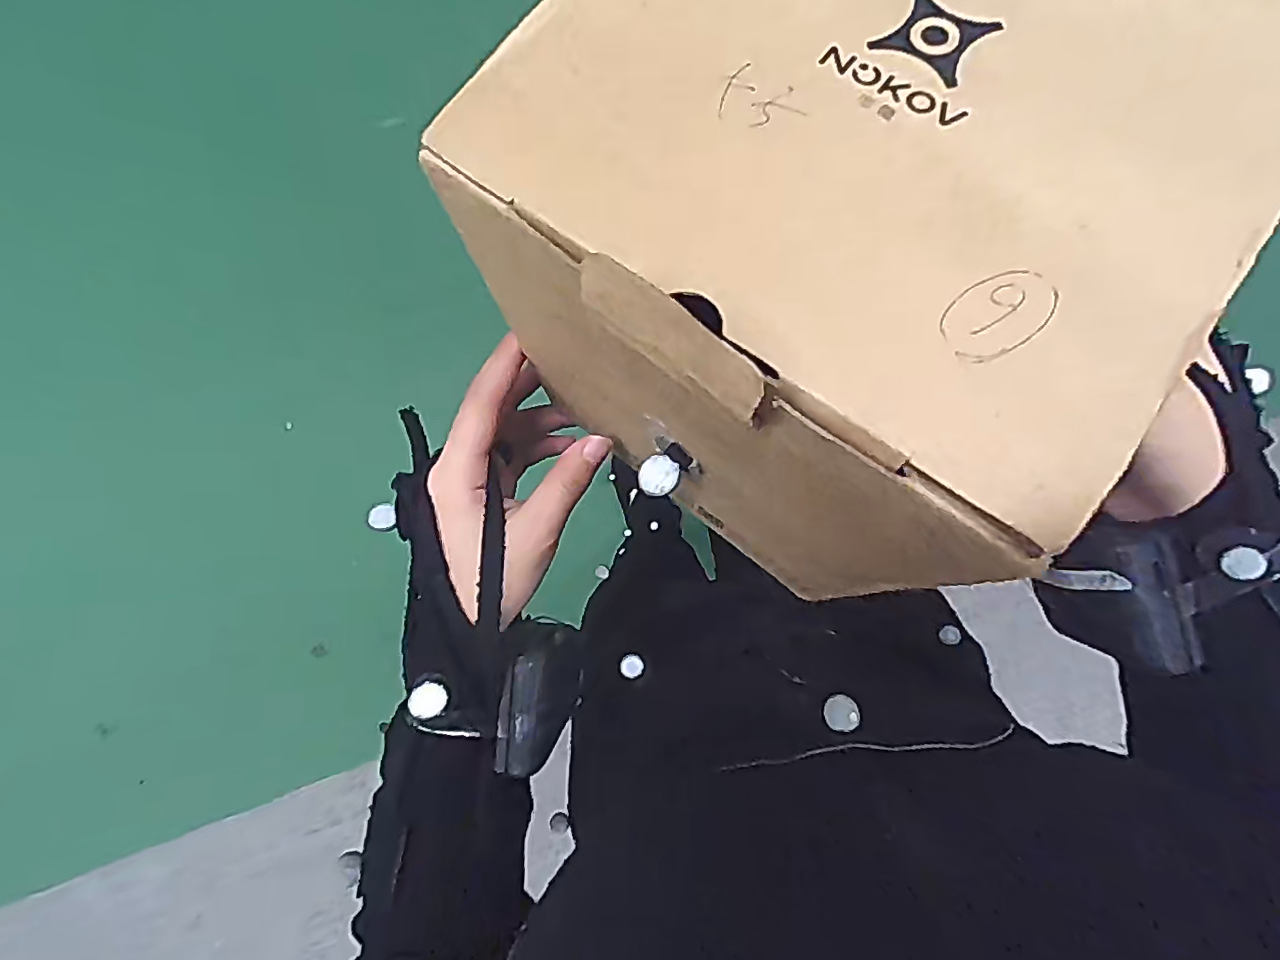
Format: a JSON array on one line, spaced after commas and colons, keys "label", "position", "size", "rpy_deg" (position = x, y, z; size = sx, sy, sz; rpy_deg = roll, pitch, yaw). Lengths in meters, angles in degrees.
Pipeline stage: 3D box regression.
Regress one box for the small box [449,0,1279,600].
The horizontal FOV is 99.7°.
[{"label": "small box", "position": [0.068, -0.067, 0.217], "size": [0.168, 0.176, 0.179], "rpy_deg": [37, 80, 11]}]
